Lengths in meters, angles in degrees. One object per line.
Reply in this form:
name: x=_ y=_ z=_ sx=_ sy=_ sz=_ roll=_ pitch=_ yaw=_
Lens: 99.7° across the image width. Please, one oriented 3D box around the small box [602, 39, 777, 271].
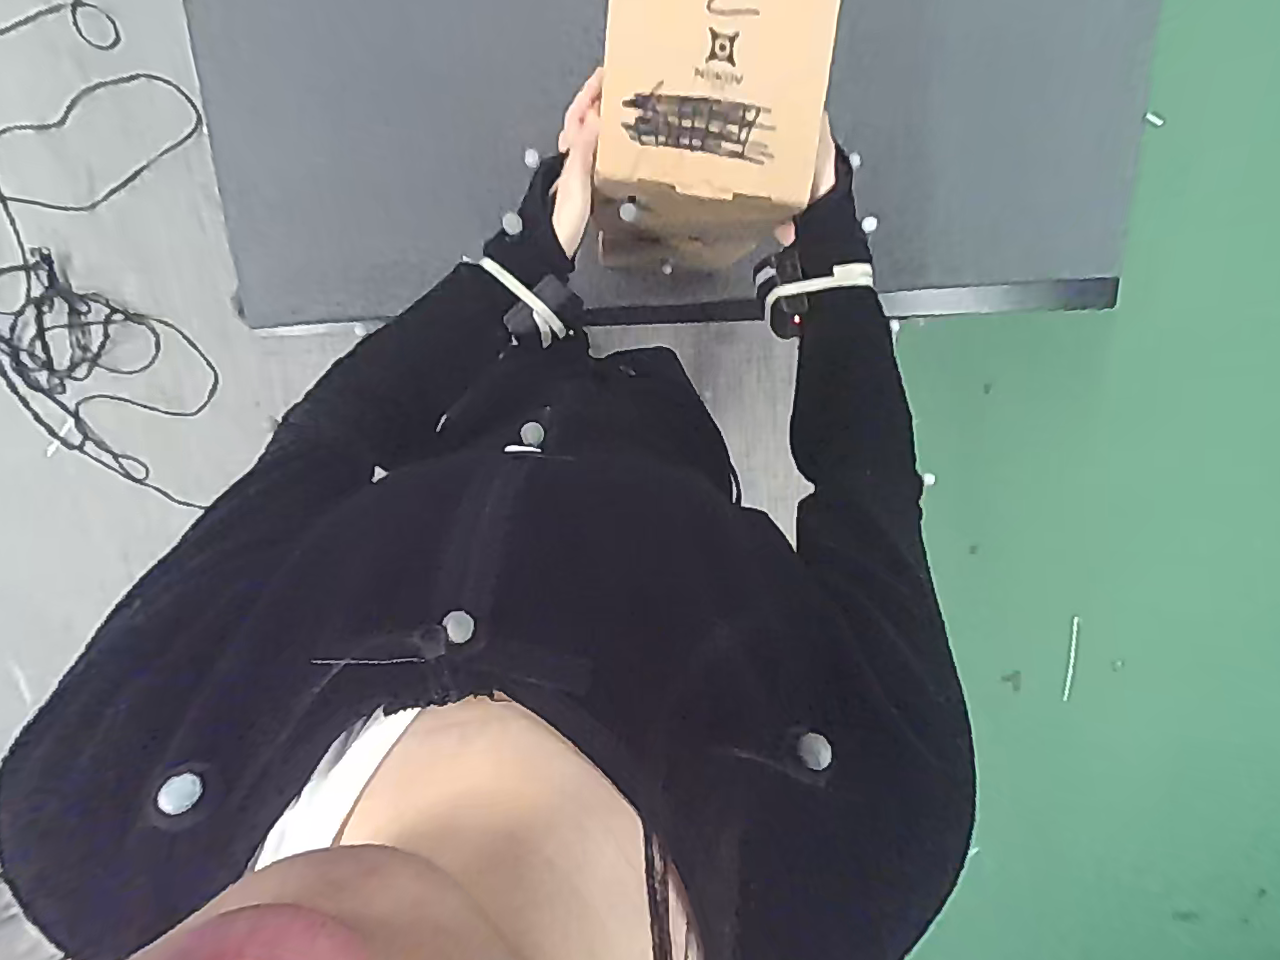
small box: x=0.043 y=-0.349 z=0.615 sx=0.168 sy=0.176 sz=0.179 roll=1 pitch=102 yaw=-6
